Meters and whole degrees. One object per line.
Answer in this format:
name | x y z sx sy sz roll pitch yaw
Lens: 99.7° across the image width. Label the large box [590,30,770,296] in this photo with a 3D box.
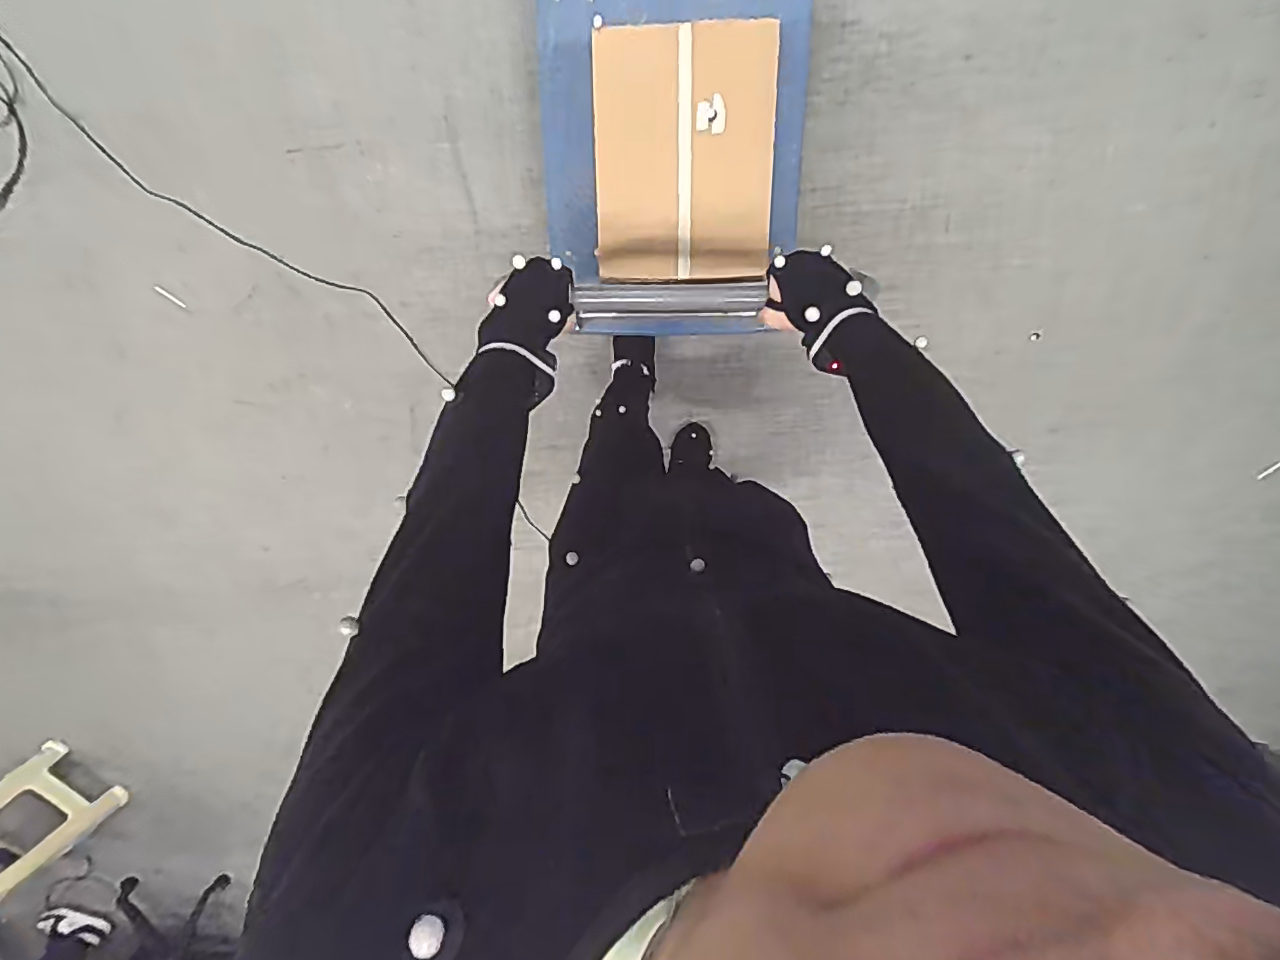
large box | 0.081 -0.601 1.109 0.320 0.320 0.408 0 106 2
